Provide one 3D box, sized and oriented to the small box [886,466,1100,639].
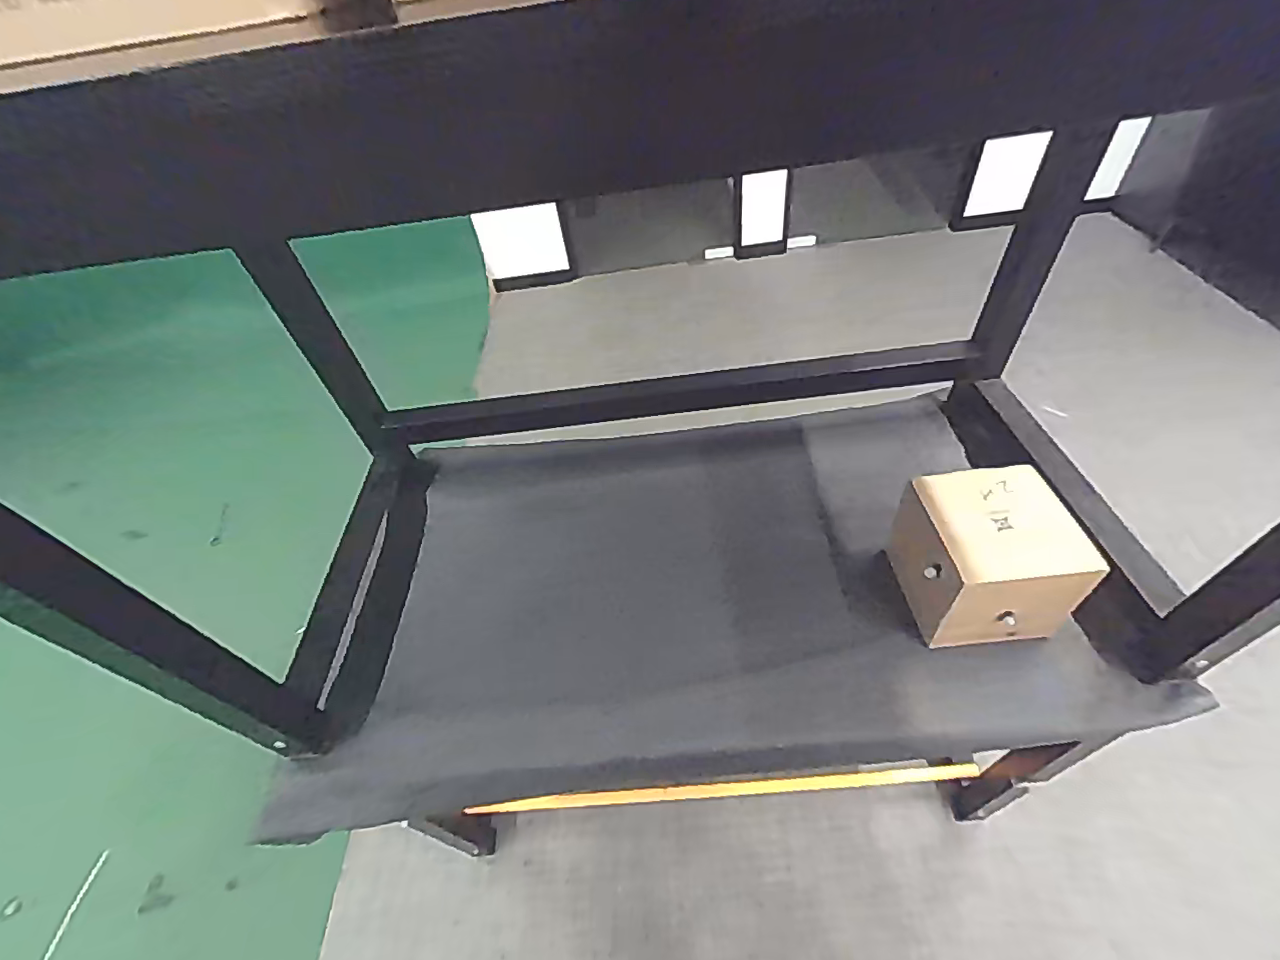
[{"bbox_3d":[0.464,0.106,0.747,0.168,0.176,0.179,-6,46,3],"label":"small box"}]
